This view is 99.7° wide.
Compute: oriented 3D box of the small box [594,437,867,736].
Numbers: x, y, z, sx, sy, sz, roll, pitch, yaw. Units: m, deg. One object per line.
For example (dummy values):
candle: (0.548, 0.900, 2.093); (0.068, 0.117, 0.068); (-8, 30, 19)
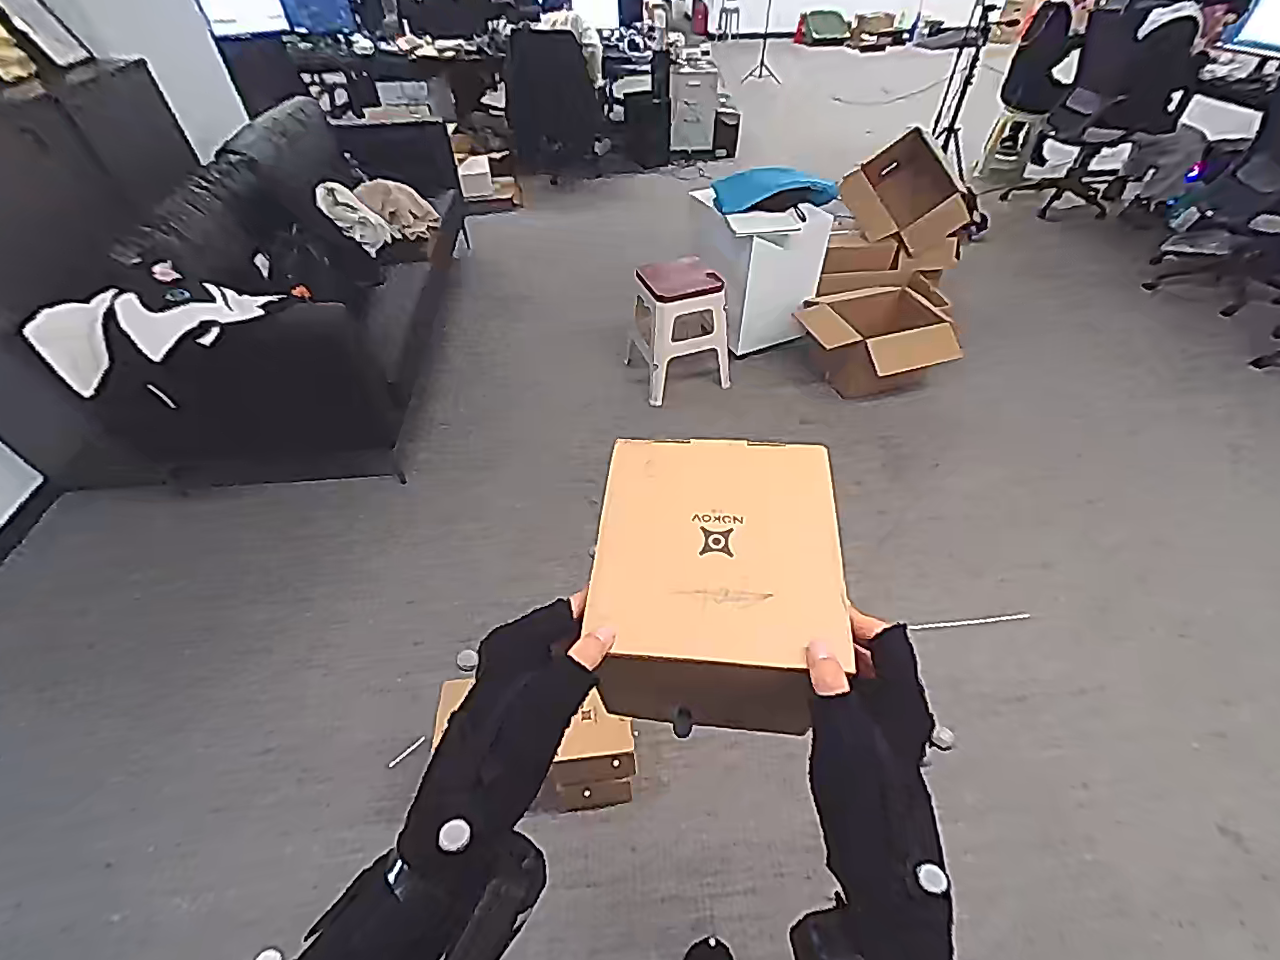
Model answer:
small box: (0.066, 0.087, 0.434); (0.168, 0.176, 0.179); (2, 54, 7)

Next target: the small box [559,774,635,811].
small box: (-0.101, 0.661, 1.289); (0.168, 0.176, 0.179); (-5, 46, -3)

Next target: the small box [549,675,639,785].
small box: (-0.099, 0.544, 1.174); (0.179, 0.176, 0.168); (-5, 47, -5)
